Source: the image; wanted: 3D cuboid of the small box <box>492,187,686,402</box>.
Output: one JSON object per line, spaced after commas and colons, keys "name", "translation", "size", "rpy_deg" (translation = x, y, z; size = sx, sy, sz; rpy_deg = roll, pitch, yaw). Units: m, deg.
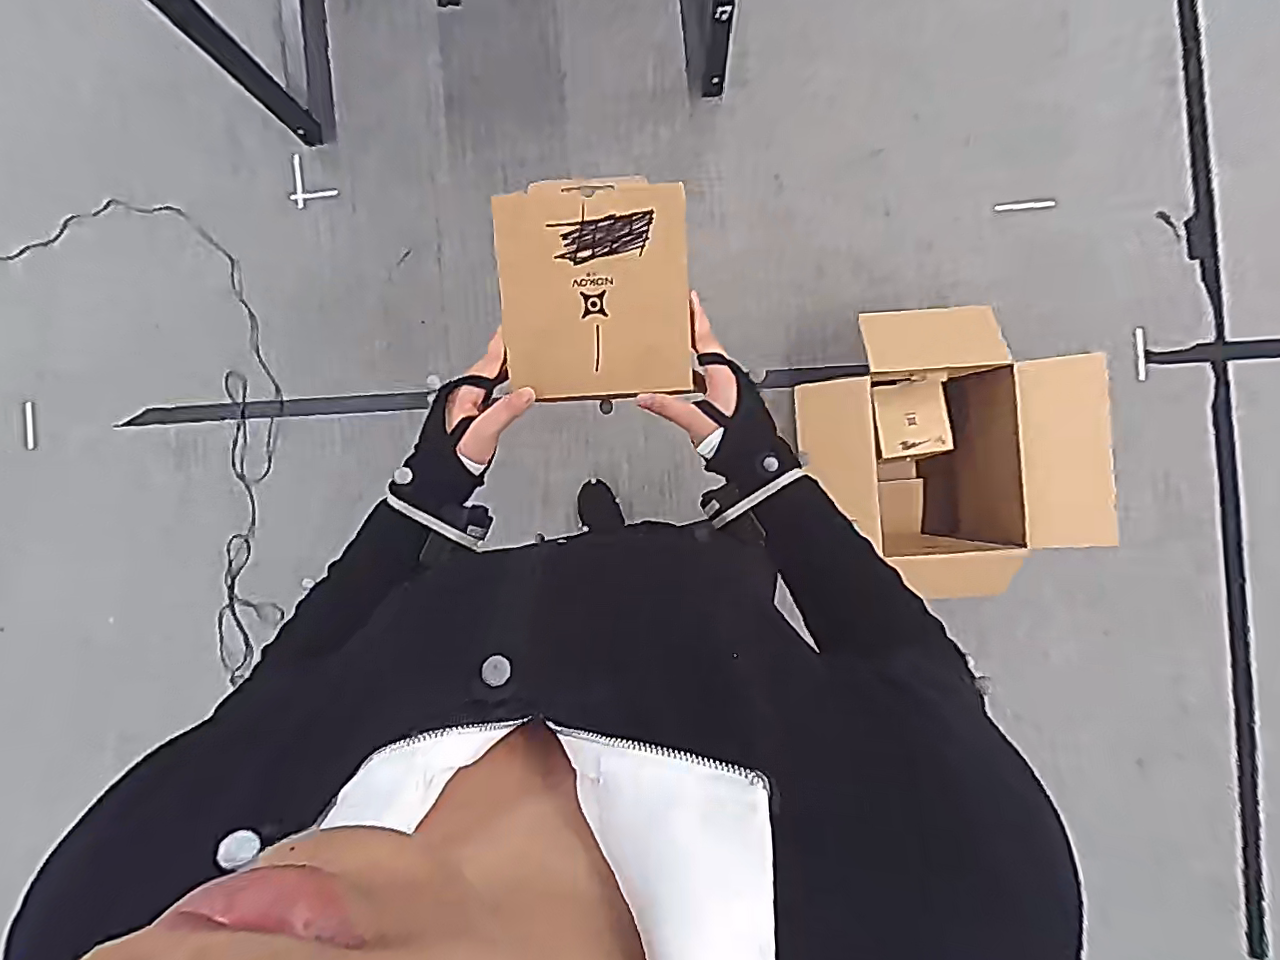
{"name": "small box", "translation": [-0.043, -0.171, 0.548], "size": [0.168, 0.176, 0.179], "rpy_deg": [-2, 98, 1]}
